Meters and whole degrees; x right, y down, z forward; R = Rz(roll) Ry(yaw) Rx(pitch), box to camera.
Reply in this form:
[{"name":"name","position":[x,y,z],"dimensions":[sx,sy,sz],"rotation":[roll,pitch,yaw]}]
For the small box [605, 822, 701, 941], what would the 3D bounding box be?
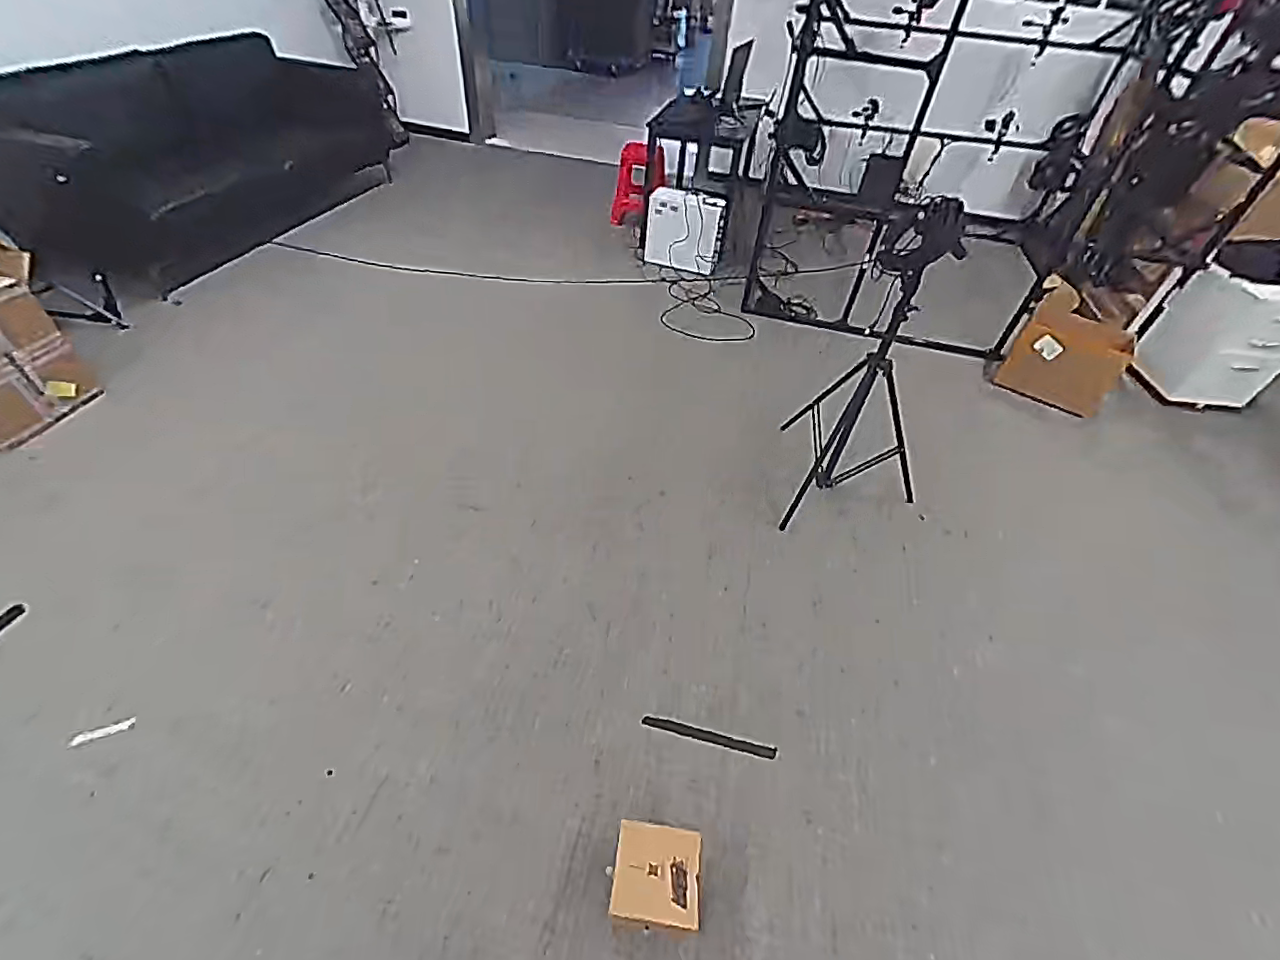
[{"name":"small box","position":[0.026,0.856,1.151],"dimensions":[0.179,0.176,0.168],"rotation":[8,44,3]}]
